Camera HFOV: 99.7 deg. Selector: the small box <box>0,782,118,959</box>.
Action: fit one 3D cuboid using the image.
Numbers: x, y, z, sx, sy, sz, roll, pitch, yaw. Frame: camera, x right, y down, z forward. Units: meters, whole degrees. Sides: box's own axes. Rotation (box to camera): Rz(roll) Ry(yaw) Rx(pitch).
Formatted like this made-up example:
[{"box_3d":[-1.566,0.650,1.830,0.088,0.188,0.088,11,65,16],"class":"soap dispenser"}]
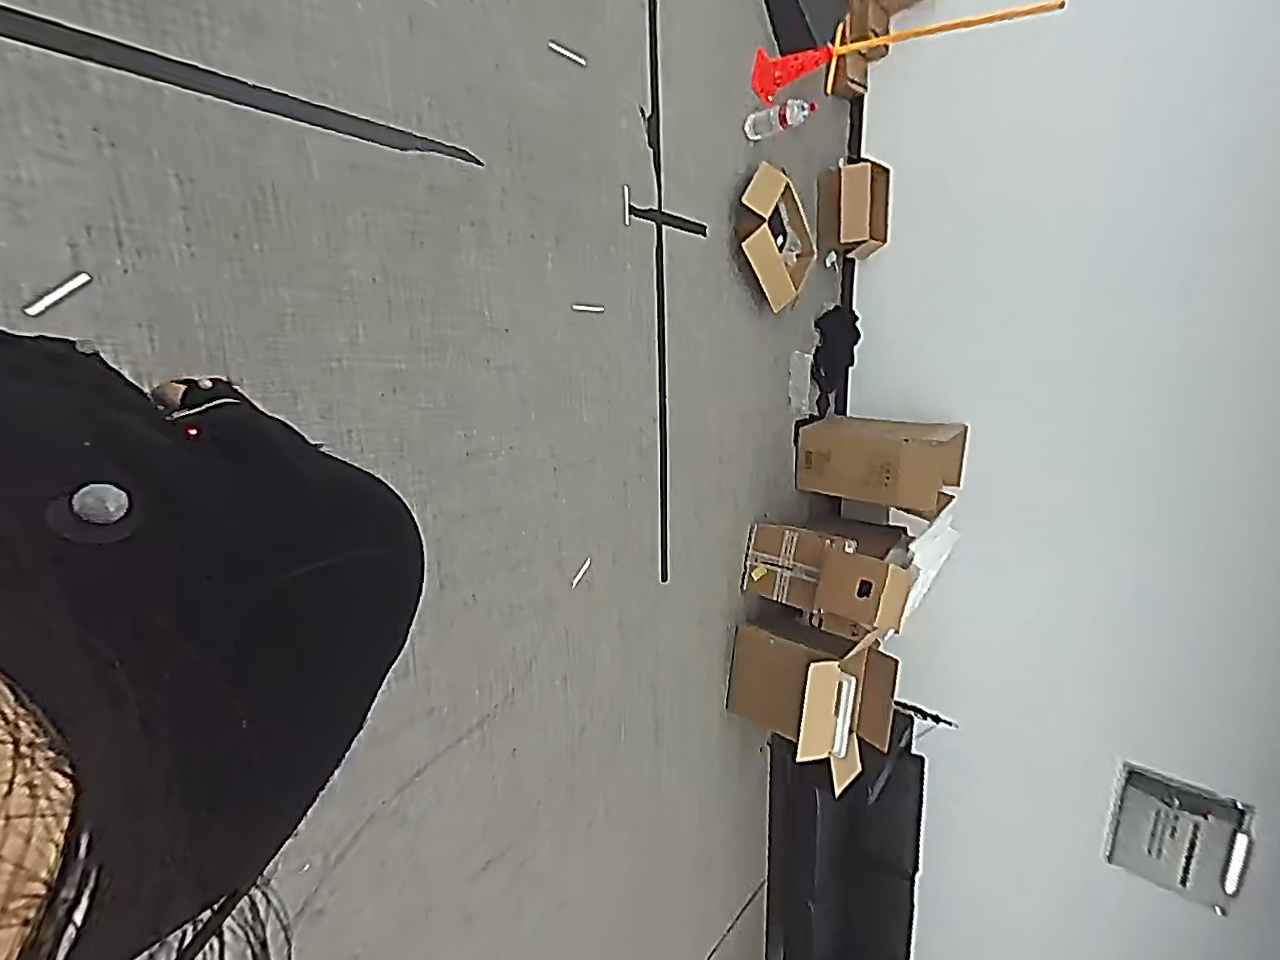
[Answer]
[{"box_3d":[-1.112,0.710,1.000,0.168,0.176,0.179,-24,115,-46],"class":"small box"}]
